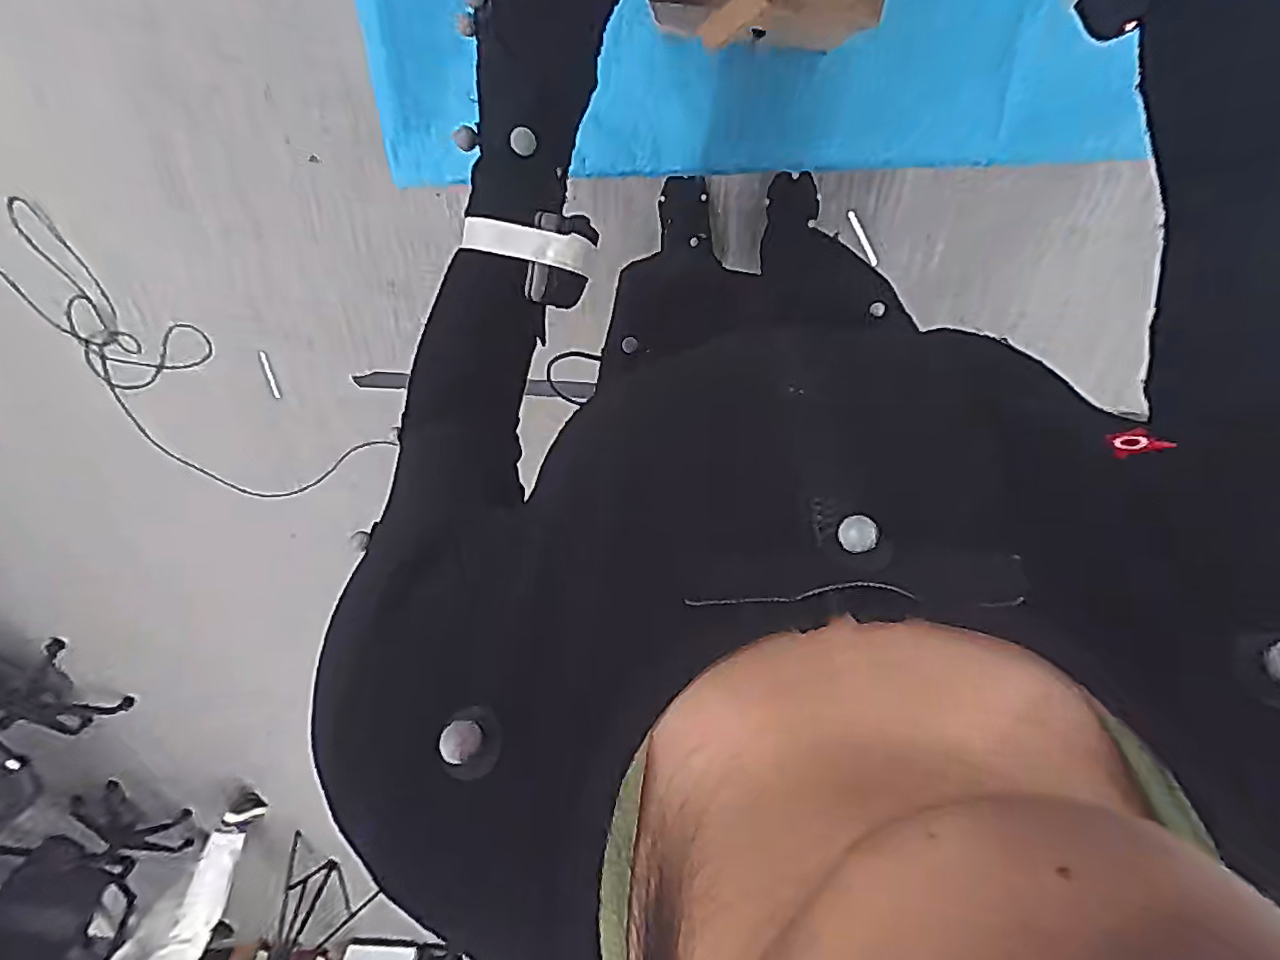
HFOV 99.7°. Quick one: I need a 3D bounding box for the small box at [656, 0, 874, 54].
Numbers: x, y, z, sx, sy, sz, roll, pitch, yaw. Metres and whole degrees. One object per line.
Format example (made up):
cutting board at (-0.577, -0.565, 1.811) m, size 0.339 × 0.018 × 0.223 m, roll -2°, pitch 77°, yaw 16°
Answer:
small box at (0.099, -0.444, 0.403) m, size 0.168 × 0.176 × 0.179 m, roll 6°, pitch 124°, yaw 1°
